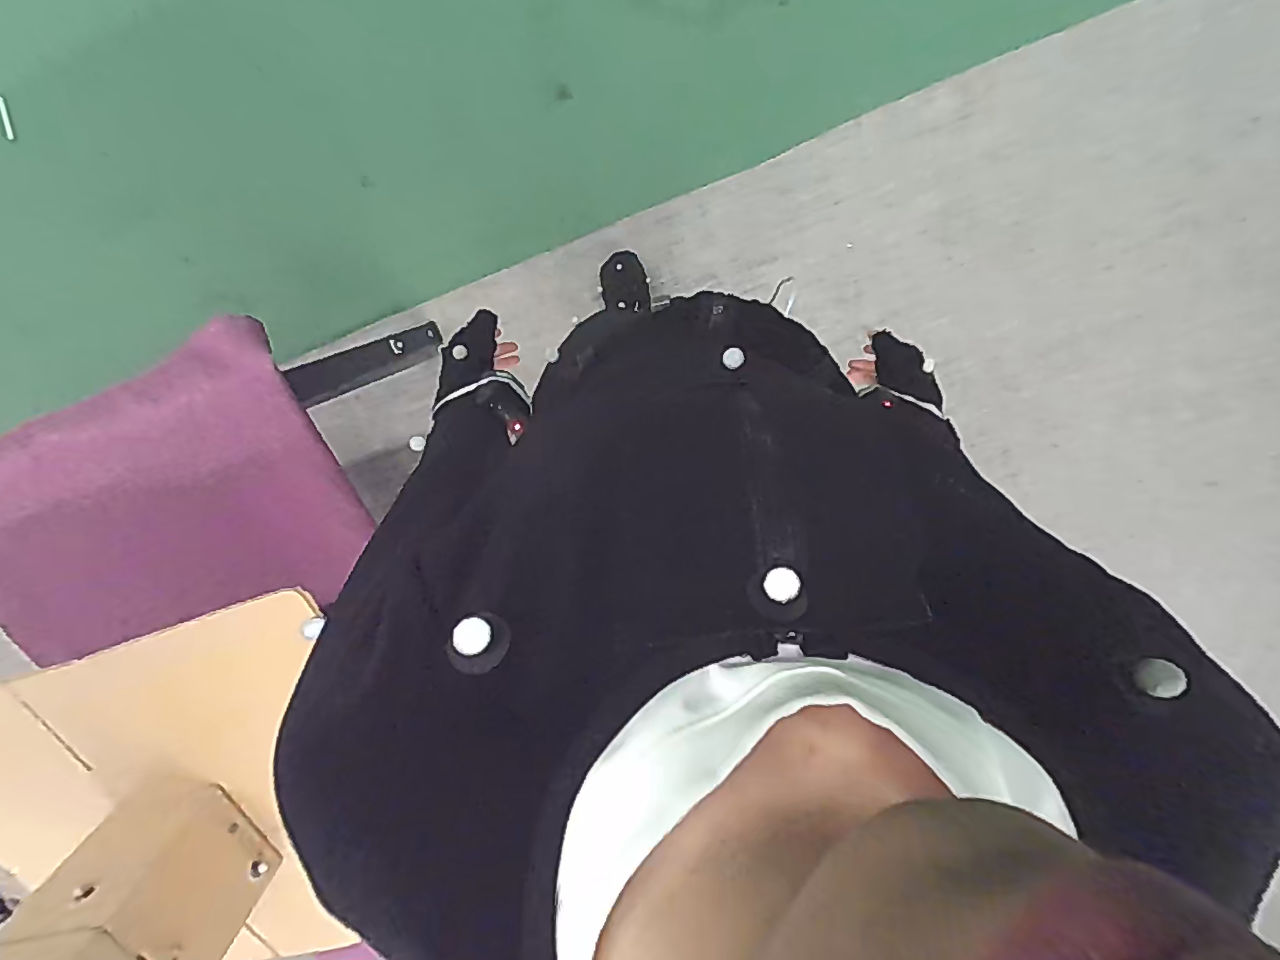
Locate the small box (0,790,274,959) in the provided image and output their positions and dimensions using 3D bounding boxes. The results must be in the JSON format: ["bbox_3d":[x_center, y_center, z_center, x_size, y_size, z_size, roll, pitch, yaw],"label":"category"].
[{"bbox_3d":[-0.621,0.534,0.697,0.179,0.176,0.168,-16,111,9],"label":"small box"}]
